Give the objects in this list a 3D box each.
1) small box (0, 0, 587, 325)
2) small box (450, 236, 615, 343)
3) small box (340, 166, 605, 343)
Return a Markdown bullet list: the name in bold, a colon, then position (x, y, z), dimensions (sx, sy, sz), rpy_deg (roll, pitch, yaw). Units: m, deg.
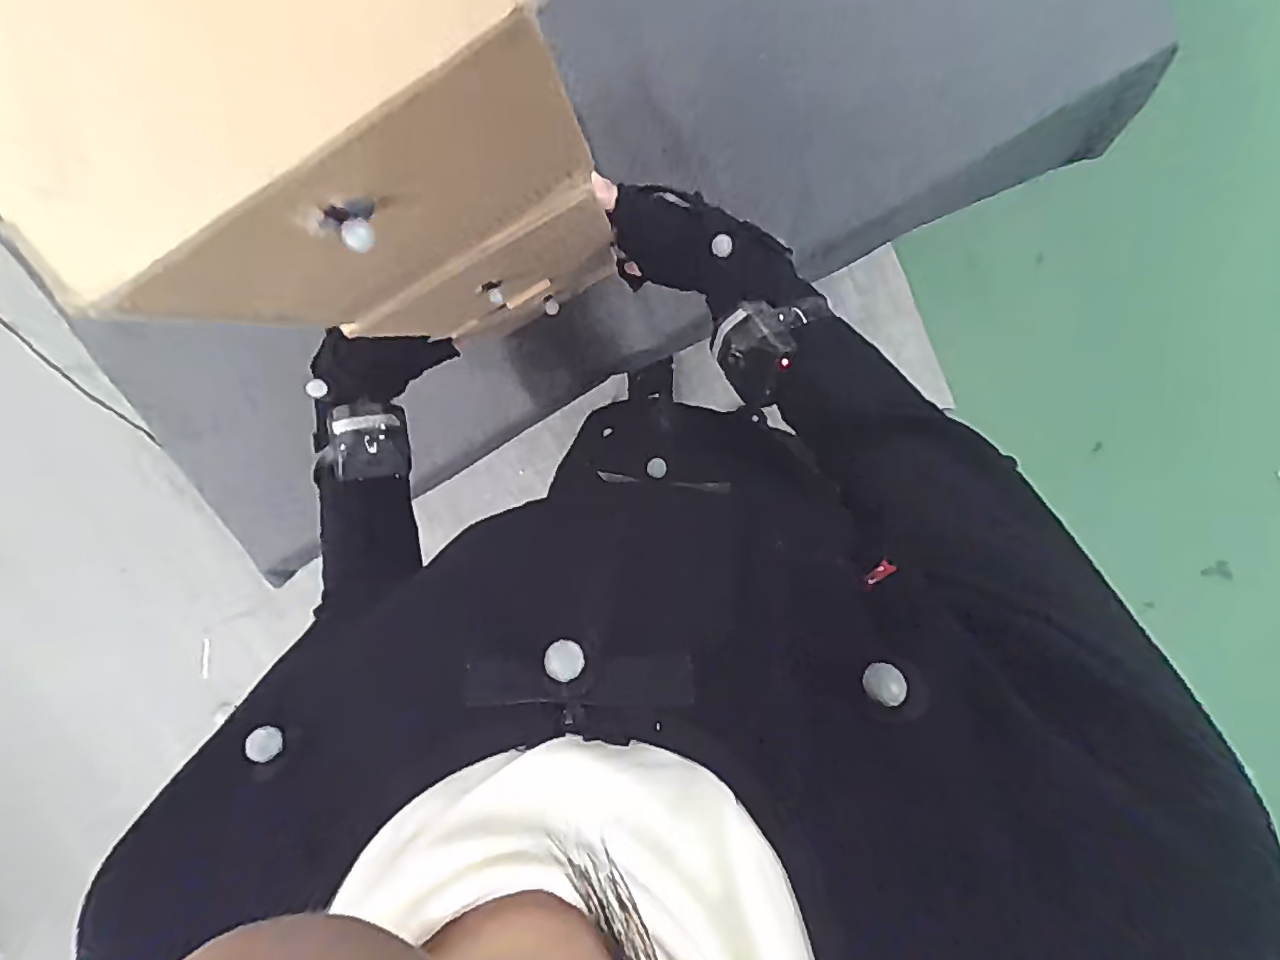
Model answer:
- **small box**: position (-0.140, -0.177, 0.226), dimensions (0.179, 0.176, 0.168), rpy_deg (-27, 104, 8)
- **small box**: position (-0.137, -0.258, 0.542), dimensions (0.168, 0.176, 0.179), rpy_deg (-27, 103, 9)
- **small box**: position (-0.135, -0.213, 0.383), dimensions (0.179, 0.176, 0.168), rpy_deg (-26, 103, 10)
